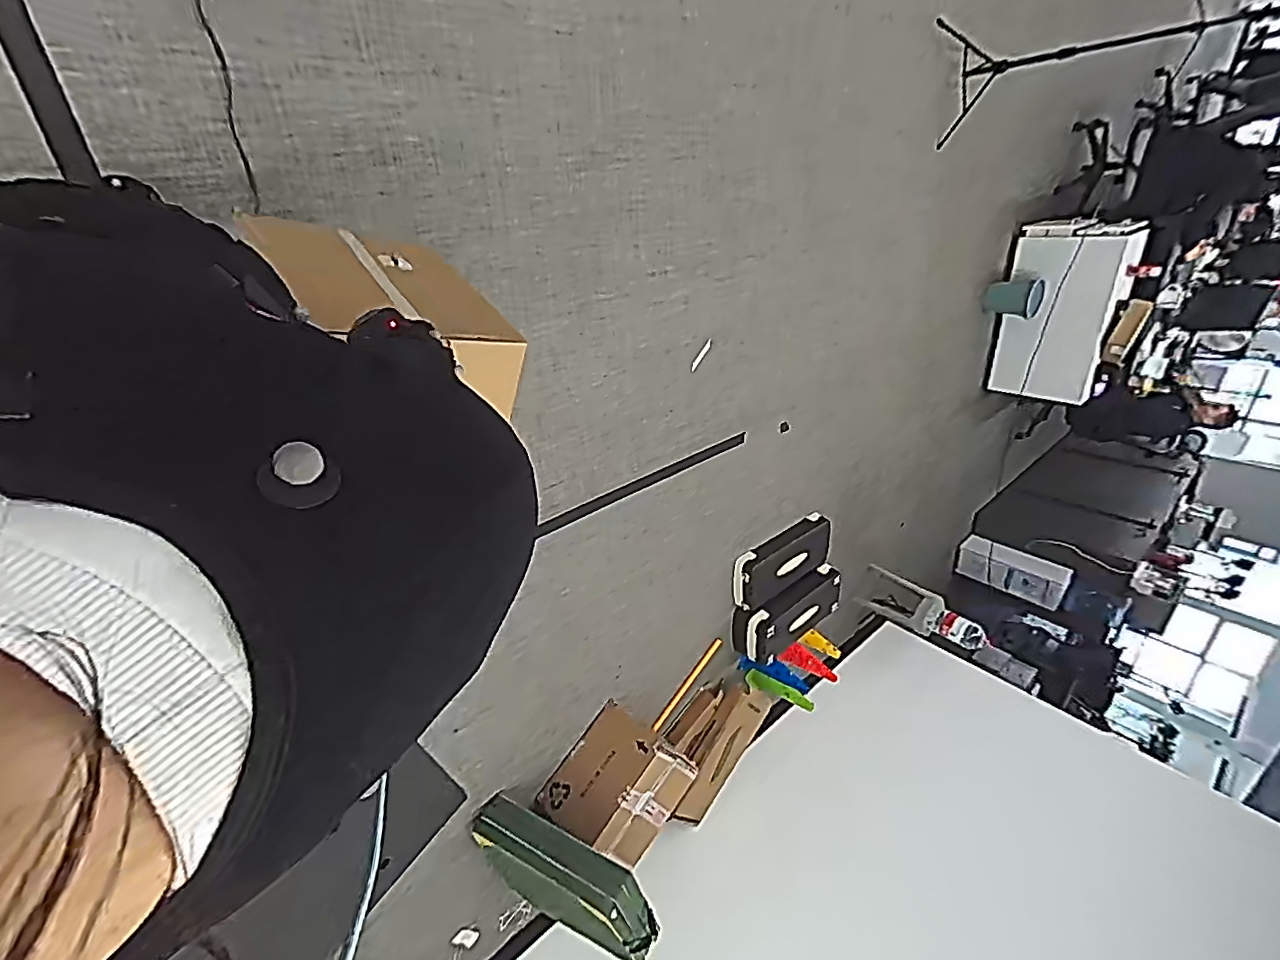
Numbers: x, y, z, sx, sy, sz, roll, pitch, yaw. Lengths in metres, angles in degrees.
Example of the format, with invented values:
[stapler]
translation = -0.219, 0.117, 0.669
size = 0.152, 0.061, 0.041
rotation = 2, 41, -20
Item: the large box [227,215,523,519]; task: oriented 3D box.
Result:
[large box]
translation = -0.452, -0.195, 0.905
size = 0.320, 0.408, 0.320
rotation = -10, 134, -42
